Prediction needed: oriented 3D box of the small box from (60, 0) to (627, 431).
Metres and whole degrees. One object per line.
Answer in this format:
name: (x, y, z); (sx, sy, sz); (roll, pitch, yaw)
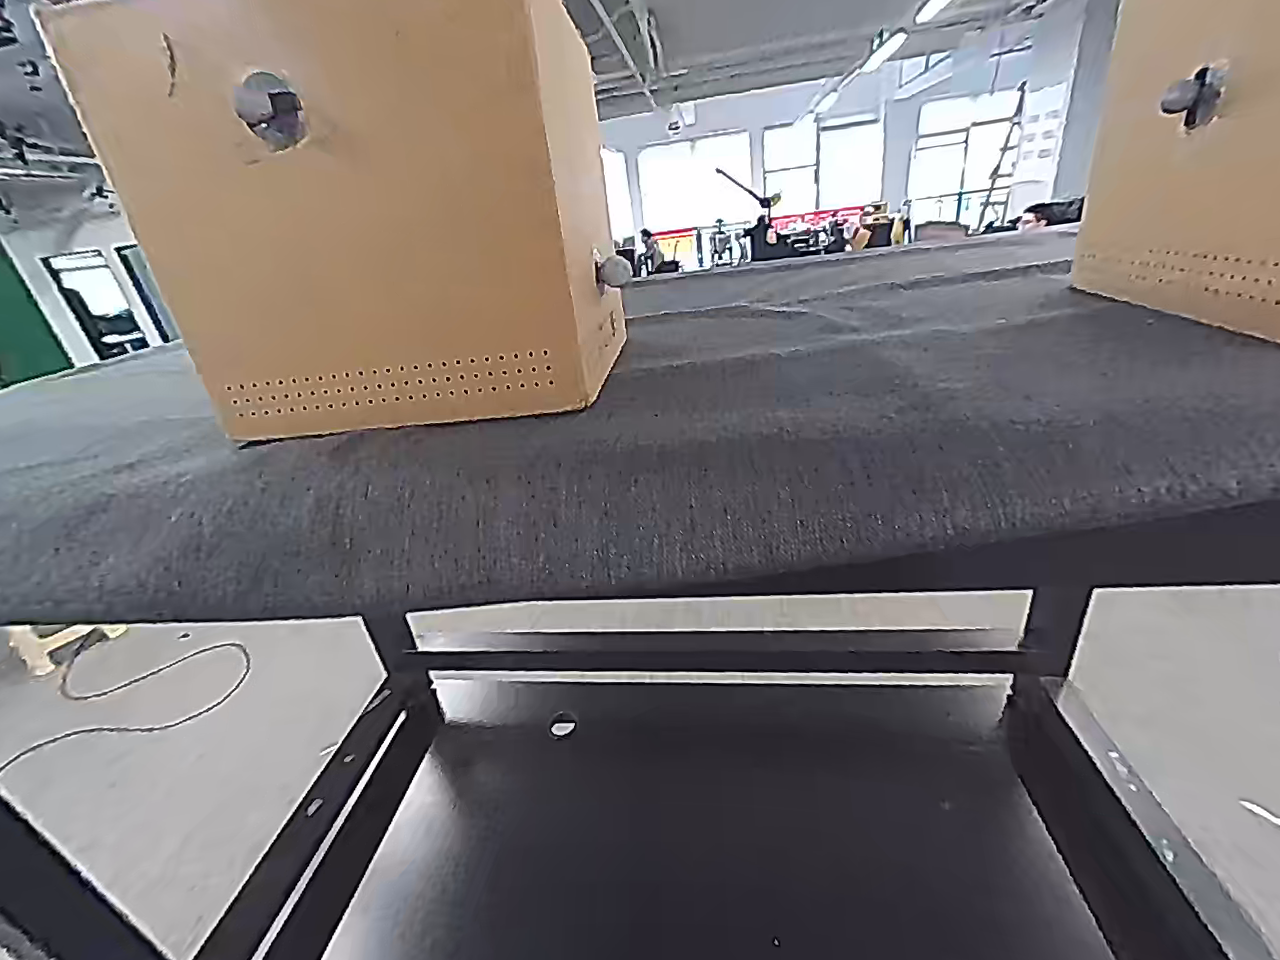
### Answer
small box: (-0.110, -0.130, 0.287); (0.179, 0.176, 0.168); (-4, 25, 7)
